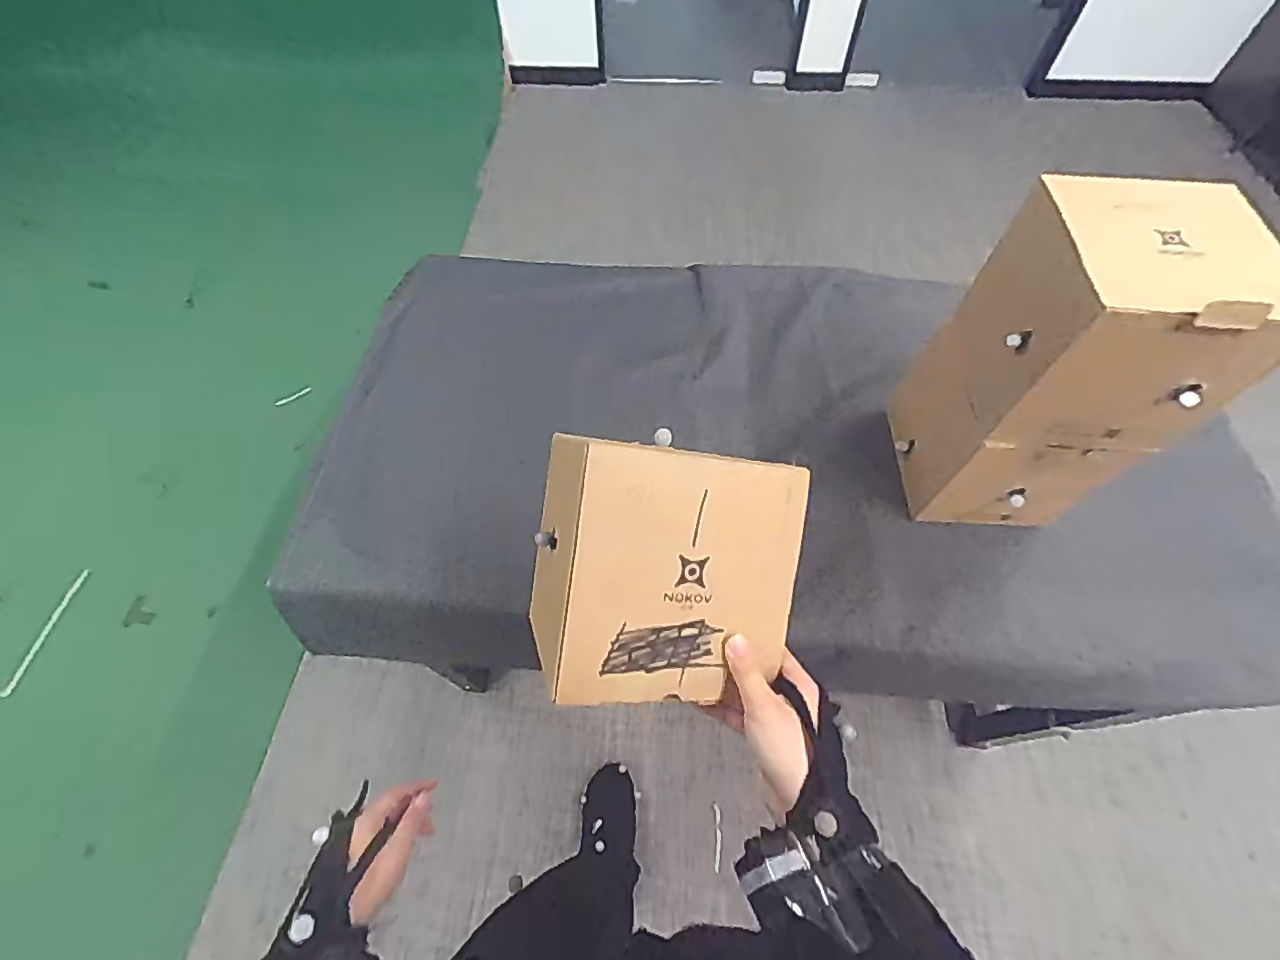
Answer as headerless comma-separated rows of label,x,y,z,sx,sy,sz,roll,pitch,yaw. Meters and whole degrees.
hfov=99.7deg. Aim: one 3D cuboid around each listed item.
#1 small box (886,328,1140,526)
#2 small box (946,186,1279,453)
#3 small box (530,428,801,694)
small box,0.417,-0.057,0.645,0.168,0.176,0.179,2,59,2
small box,0.421,-0.143,0.506,0.168,0.176,0.179,5,57,3
small box,0.006,0.056,0.452,0.168,0.176,0.179,8,92,-18
